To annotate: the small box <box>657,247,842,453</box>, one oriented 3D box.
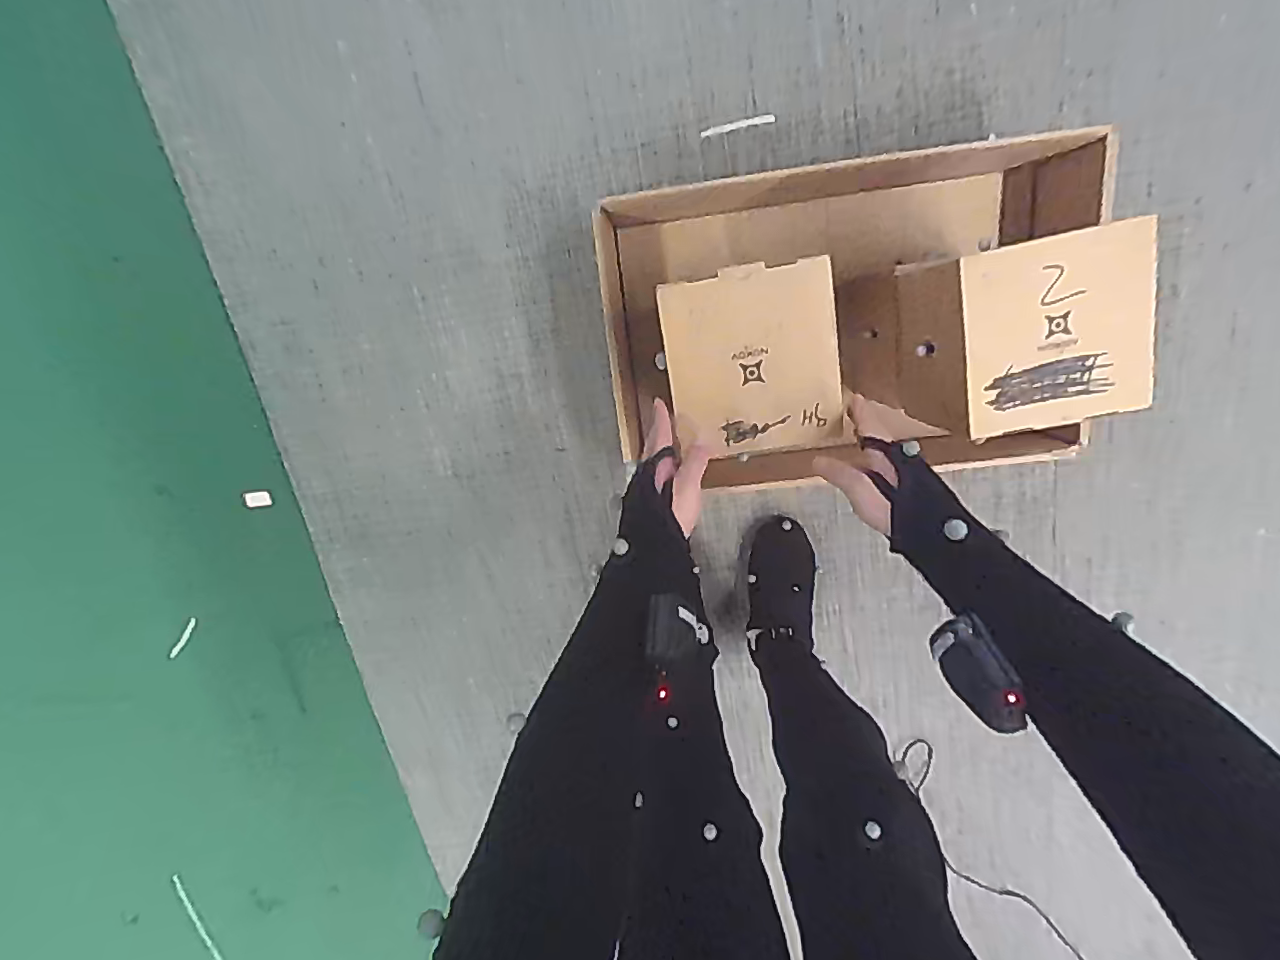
[{"bbox_3d":[0.112,-0.139,0.599,0.168,0.176,0.179,-8,104,6],"label":"small box"}]
